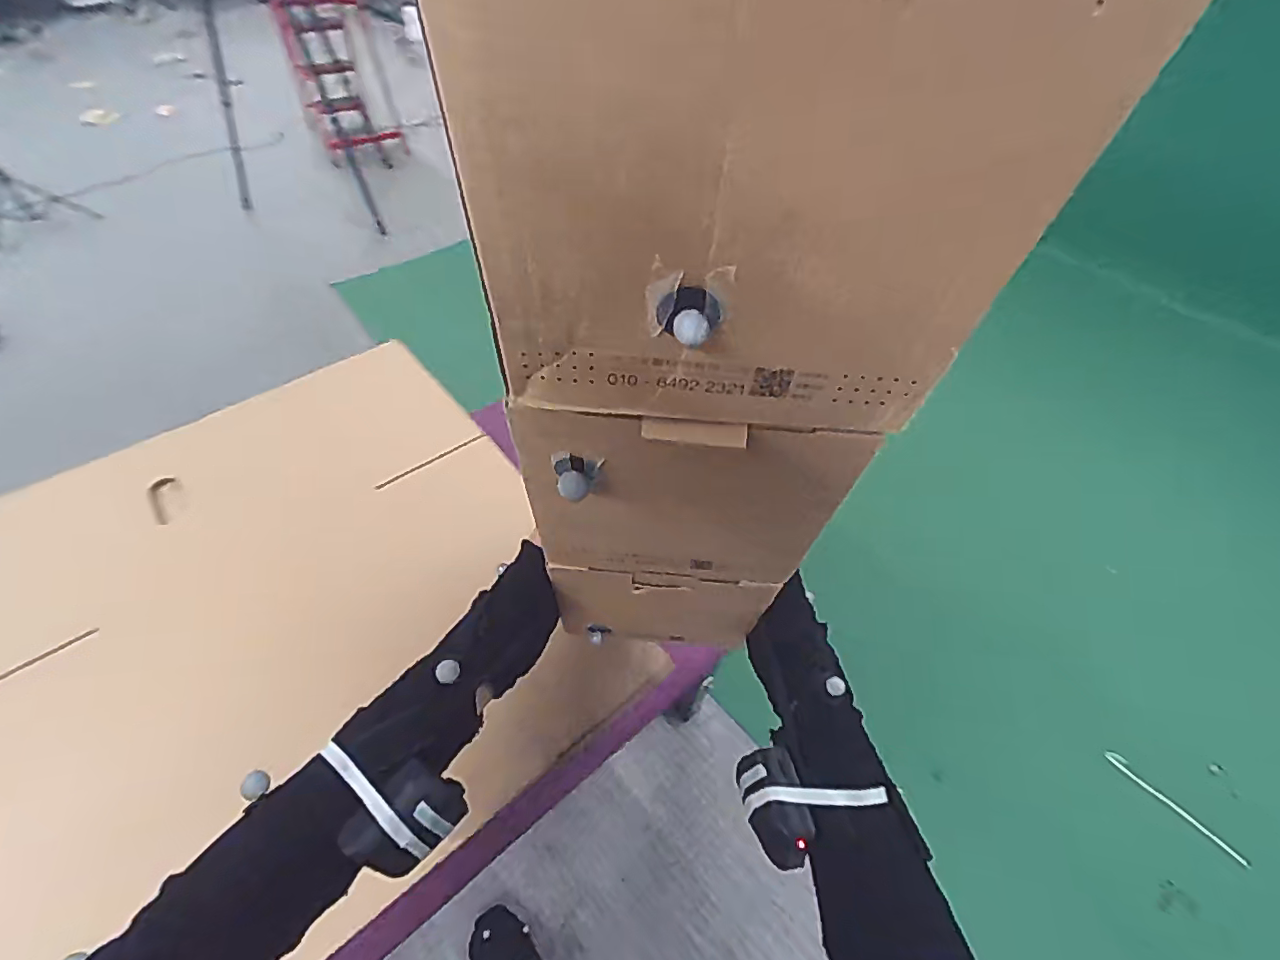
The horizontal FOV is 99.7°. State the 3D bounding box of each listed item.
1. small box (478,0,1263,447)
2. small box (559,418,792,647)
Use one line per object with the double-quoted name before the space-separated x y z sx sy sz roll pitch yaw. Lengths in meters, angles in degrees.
"small box" 0.044 -0.136 0.206 0.168 0.176 0.179 4 58 0
"small box" 0.031 0.039 0.482 0.168 0.176 0.179 5 58 1
